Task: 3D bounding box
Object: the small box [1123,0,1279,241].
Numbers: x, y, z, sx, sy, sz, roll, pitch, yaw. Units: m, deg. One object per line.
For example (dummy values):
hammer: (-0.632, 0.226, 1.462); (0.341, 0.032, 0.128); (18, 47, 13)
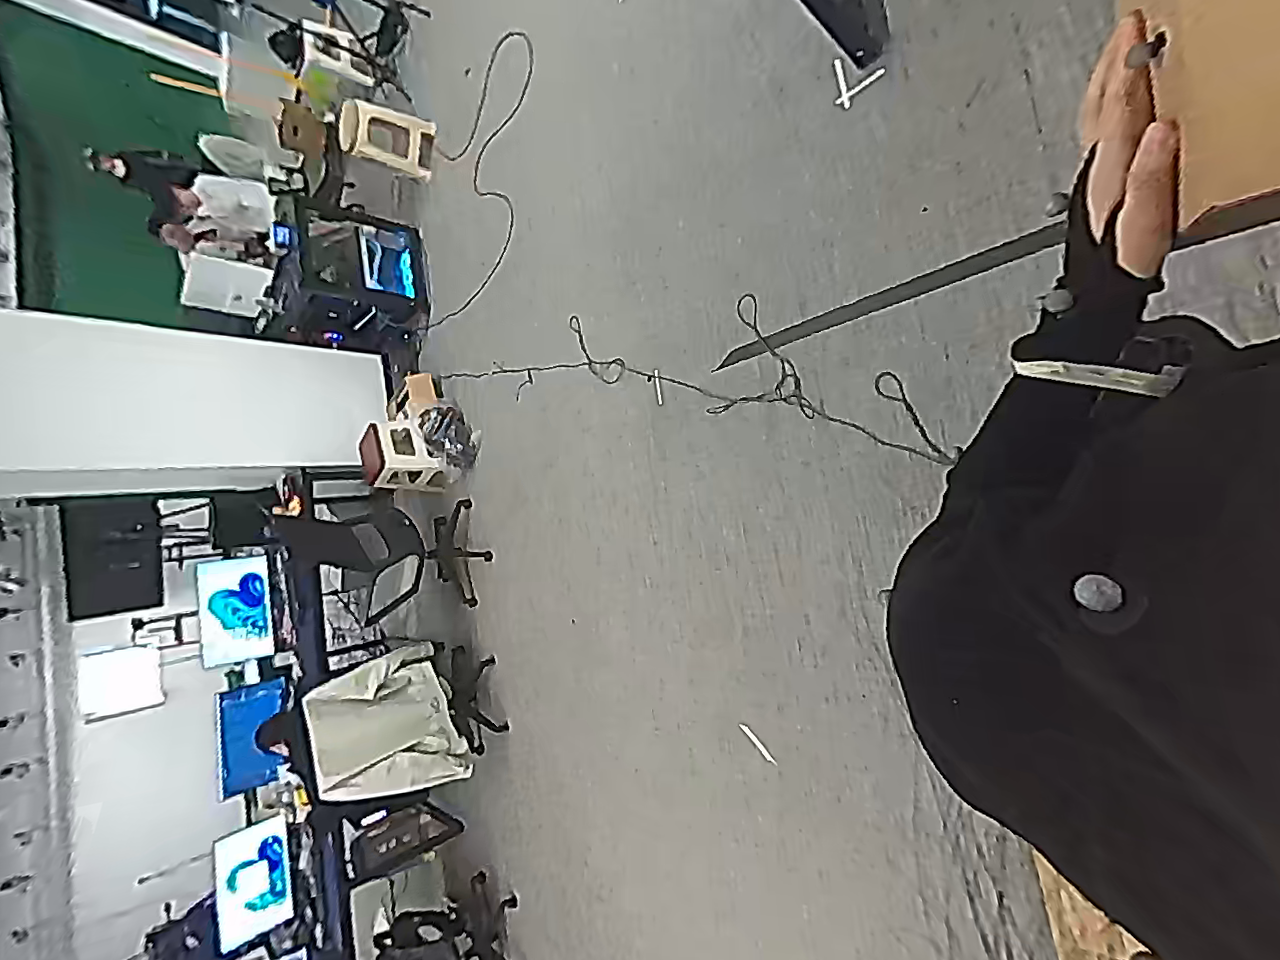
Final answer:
small box: (0.360, -0.242, 0.263); (0.168, 0.176, 0.179); (-10, 96, 39)
